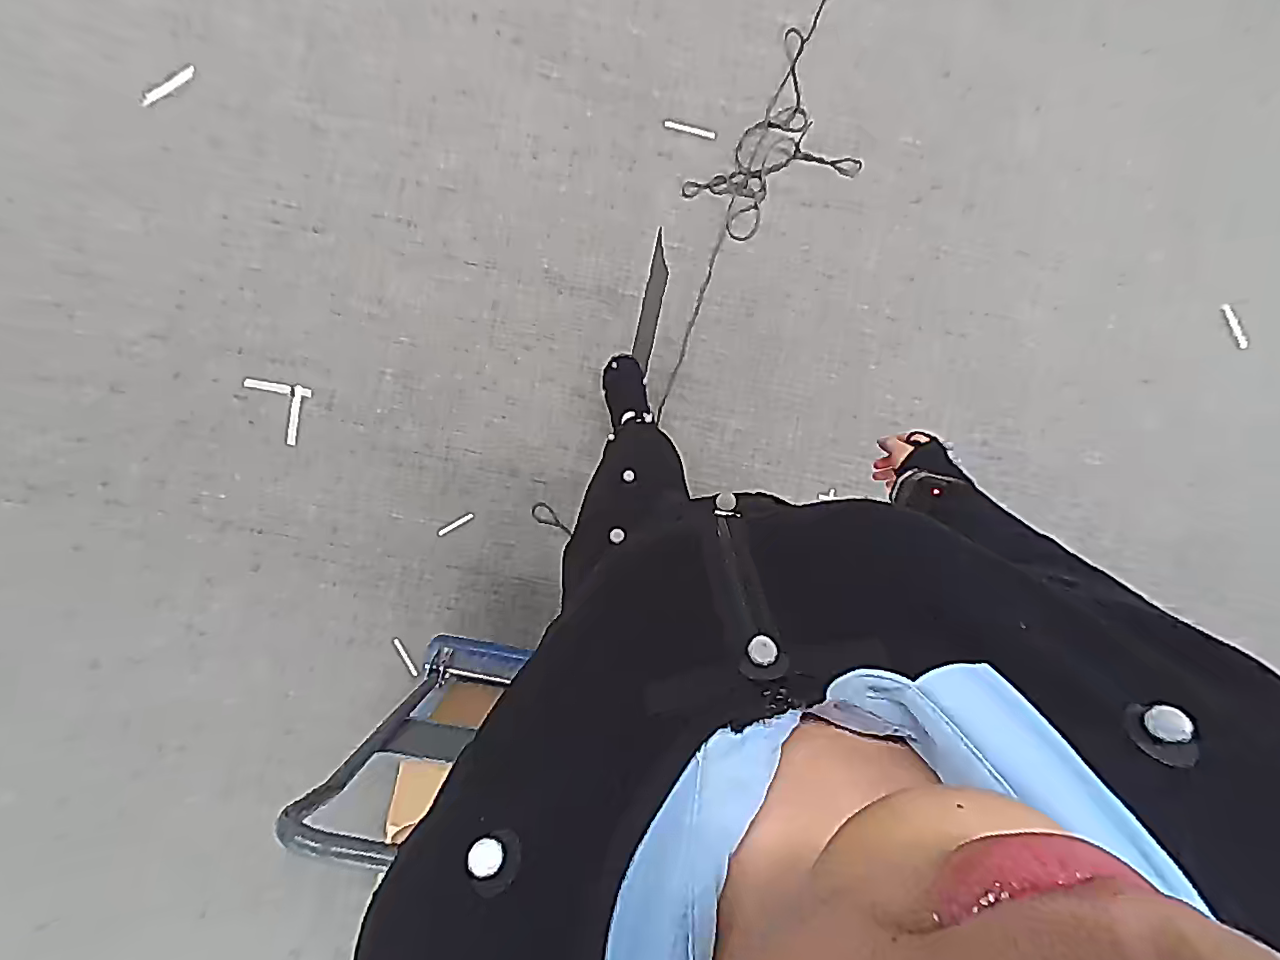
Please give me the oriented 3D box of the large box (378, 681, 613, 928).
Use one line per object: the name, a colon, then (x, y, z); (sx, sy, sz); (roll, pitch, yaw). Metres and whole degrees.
large box: (-0.286, 0.686, 1.195); (0.408, 0.320, 0.320); (12, 91, -1)
